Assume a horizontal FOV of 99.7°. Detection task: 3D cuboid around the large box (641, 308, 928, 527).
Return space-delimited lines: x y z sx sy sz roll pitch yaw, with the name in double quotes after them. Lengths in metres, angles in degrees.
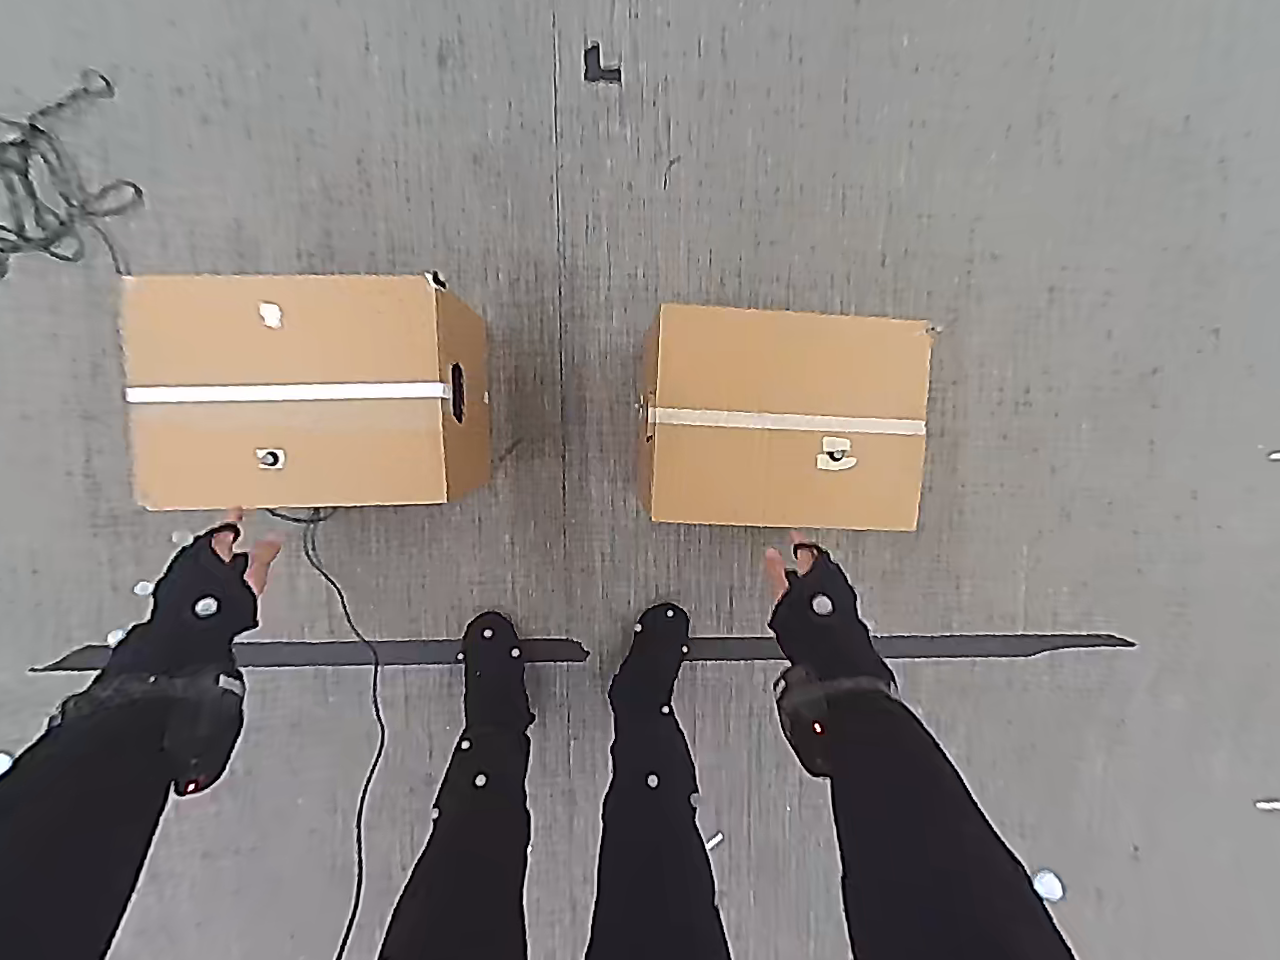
0.214 -0.096 0.945 0.408 0.320 0.320 2 95 -5 "large box"
